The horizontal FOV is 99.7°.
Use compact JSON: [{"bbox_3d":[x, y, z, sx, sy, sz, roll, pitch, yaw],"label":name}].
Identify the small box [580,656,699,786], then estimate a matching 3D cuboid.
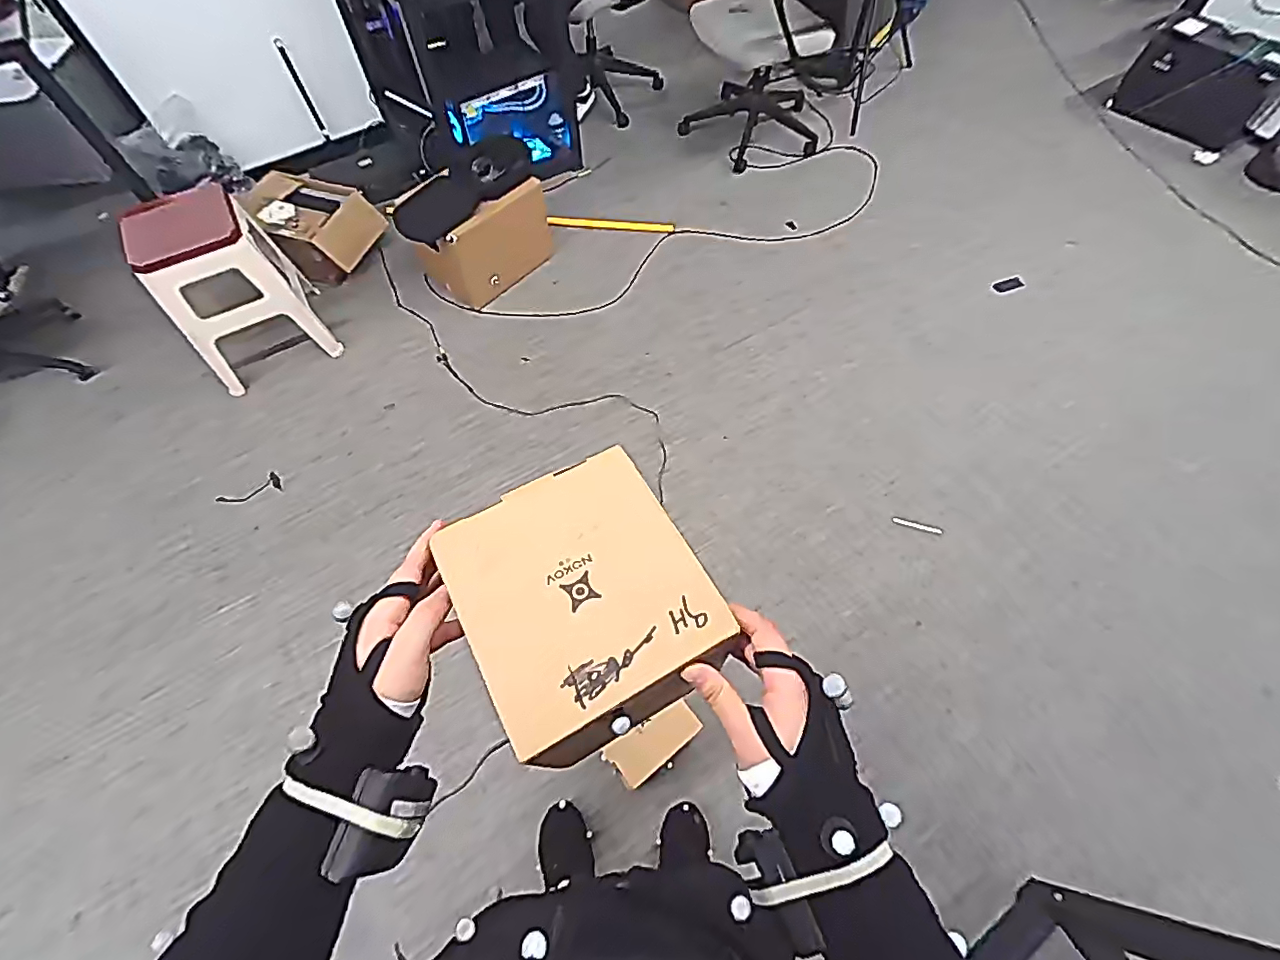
[{"bbox_3d":[-0.001,0.496,1.108,0.179,0.176,0.168,-35,68,-19],"label":"small box"}]
